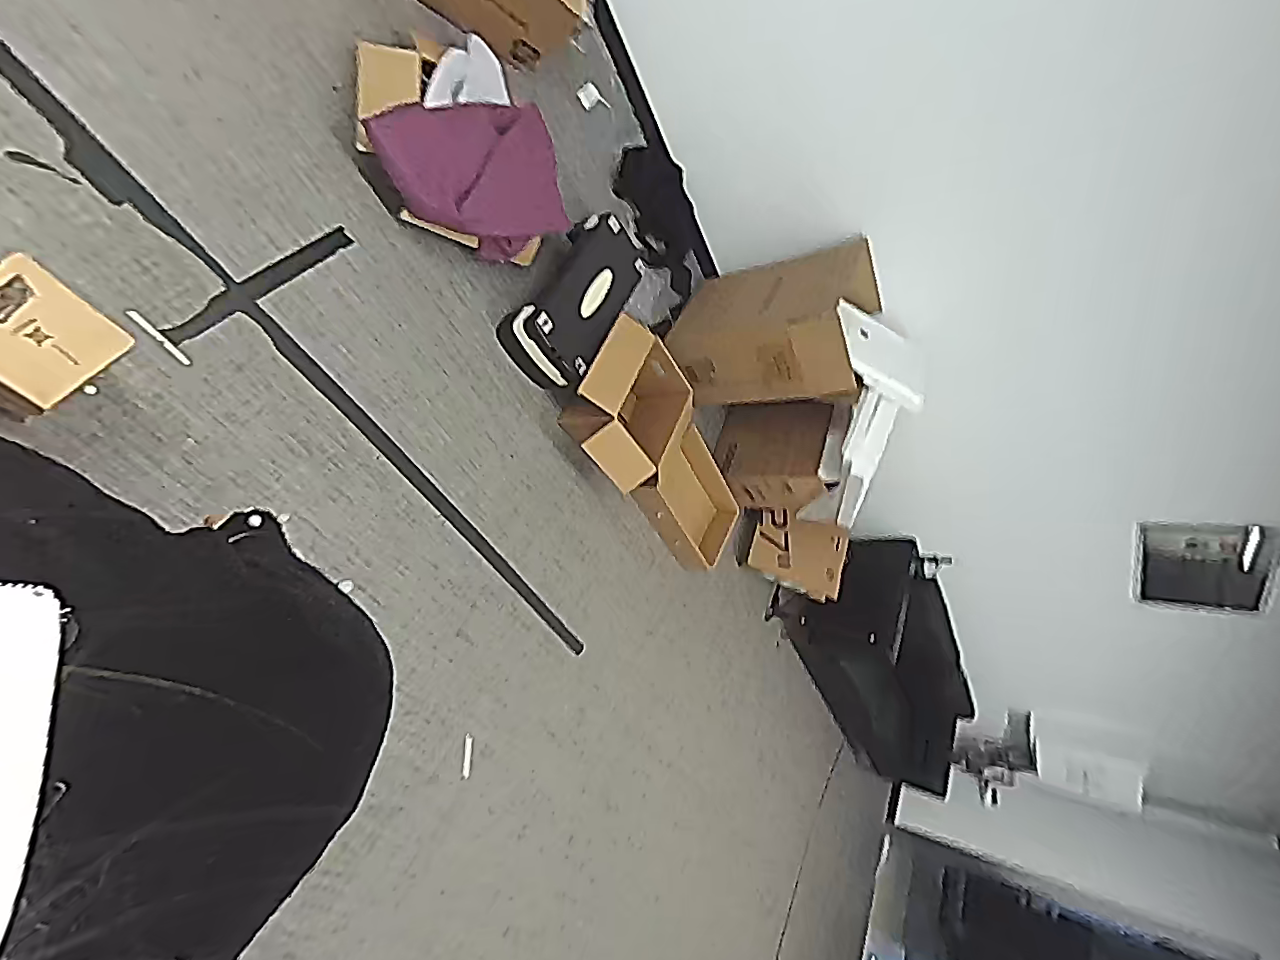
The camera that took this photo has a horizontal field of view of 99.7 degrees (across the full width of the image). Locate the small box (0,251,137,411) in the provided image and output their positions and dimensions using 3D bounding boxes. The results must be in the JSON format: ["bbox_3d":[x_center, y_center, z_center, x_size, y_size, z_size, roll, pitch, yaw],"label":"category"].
[{"bbox_3d":[-0.976,-0.226,0.864,0.179,0.176,0.168,54,52,-36],"label":"small box"}]
